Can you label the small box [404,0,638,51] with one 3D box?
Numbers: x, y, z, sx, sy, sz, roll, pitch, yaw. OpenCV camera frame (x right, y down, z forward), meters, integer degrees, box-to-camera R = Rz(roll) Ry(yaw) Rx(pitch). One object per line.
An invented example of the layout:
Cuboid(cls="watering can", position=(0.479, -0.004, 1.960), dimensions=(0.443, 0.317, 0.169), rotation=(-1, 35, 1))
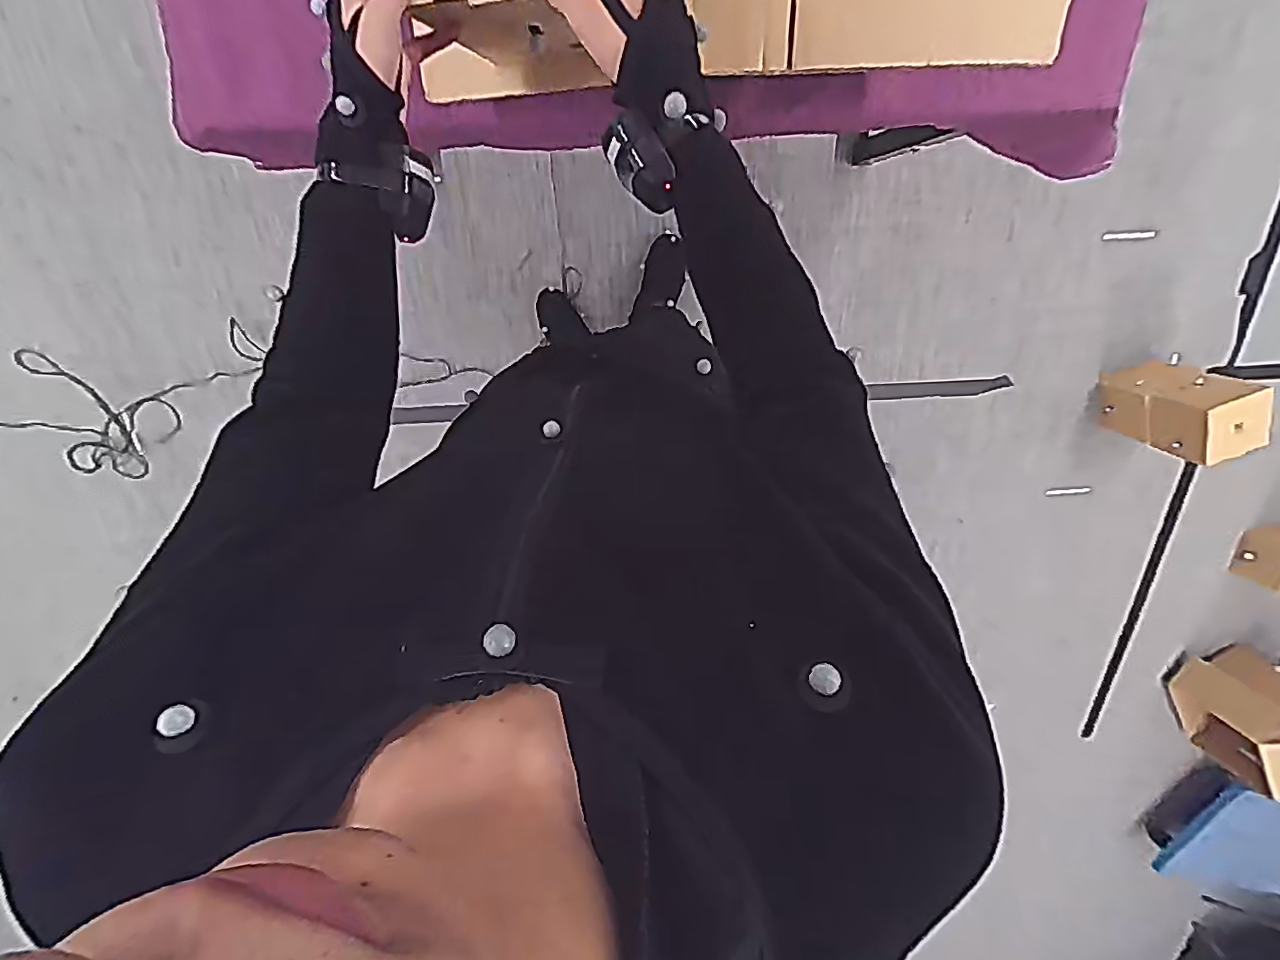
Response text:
Cuboid(cls="small box", position=(-0.100, -0.494, 0.459), dimensions=(0.168, 0.176, 0.179), rotation=(3, 116, 13))
